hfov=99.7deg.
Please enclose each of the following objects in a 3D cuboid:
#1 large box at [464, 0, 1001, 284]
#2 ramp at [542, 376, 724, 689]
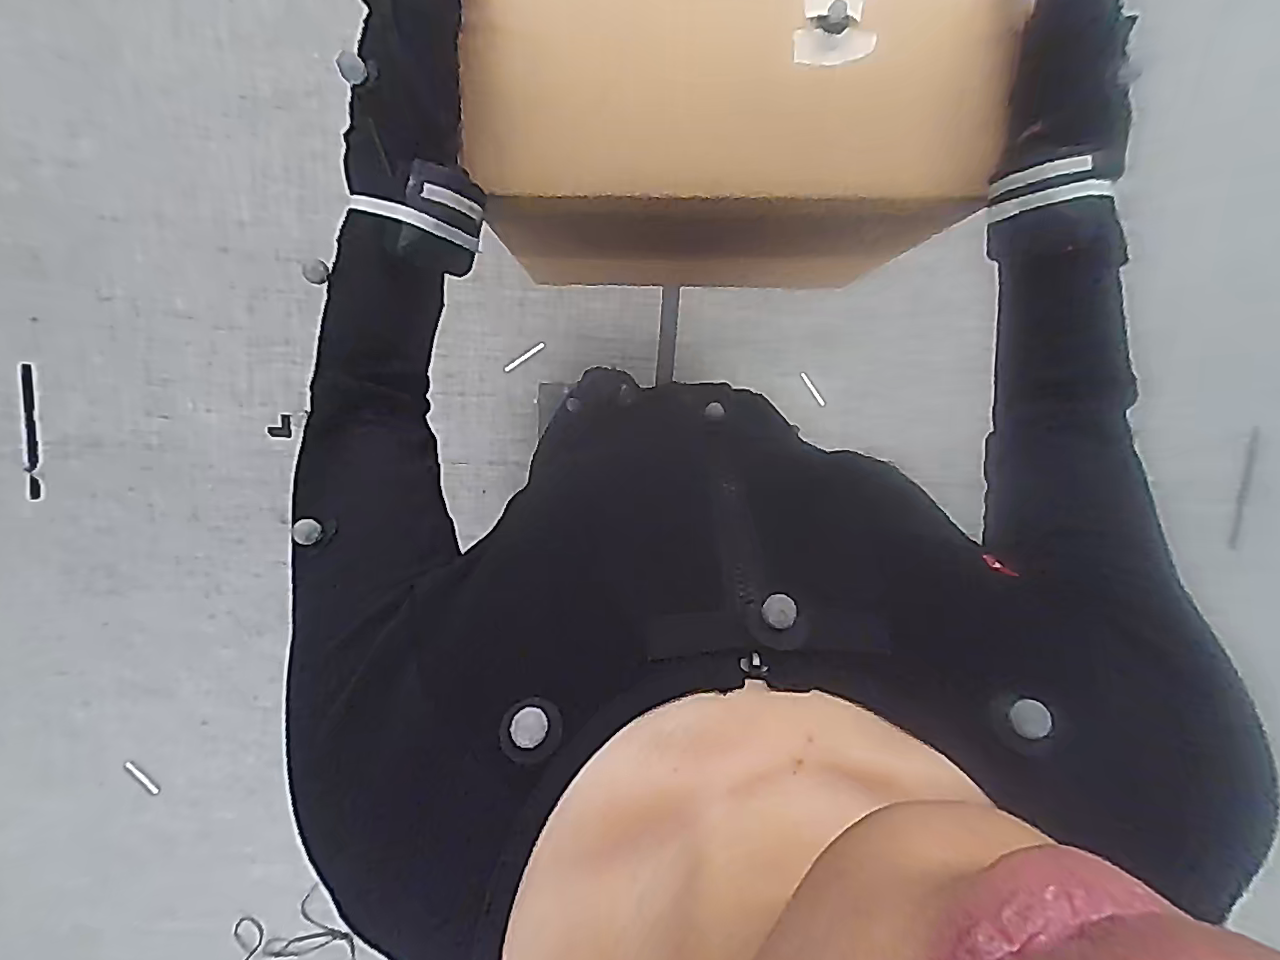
[{"bbox_3d":[0.065,-0.392,0.542,0.408,0.320,0.320,0,98,-1],"label":"large box"},{"bbox_3d":[-0.040,0.203,1.600,0.509,0.206,0.991,1,99,-2],"label":"ramp"}]
